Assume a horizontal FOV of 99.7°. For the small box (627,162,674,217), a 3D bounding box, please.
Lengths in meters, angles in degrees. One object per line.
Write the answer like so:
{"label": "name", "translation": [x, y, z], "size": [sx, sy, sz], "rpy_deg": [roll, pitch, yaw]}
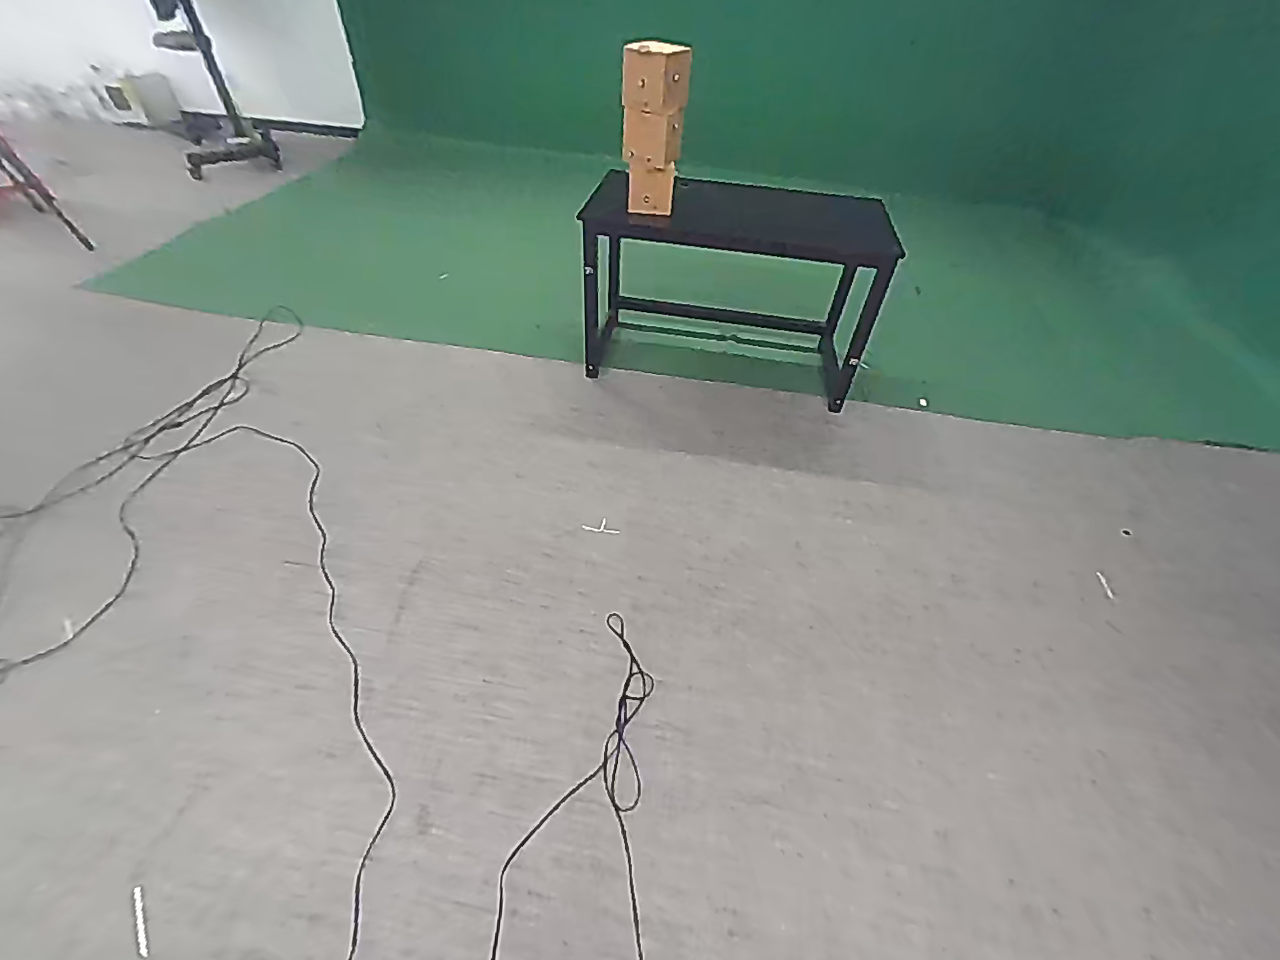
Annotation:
{"label": "small box", "translation": [0.039, -1.136, 2.082], "size": [0.168, 0.176, 0.179], "rpy_deg": [3, 46, -2]}

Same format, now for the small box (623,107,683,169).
{"label": "small box", "translation": [0.045, -1.251, 1.965], "size": [0.168, 0.176, 0.179], "rpy_deg": [19, 47, 13]}

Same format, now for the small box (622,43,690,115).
{"label": "small box", "translation": [0.054, -1.372, 1.853], "size": [0.168, 0.176, 0.179], "rpy_deg": [28, 51, 20]}
